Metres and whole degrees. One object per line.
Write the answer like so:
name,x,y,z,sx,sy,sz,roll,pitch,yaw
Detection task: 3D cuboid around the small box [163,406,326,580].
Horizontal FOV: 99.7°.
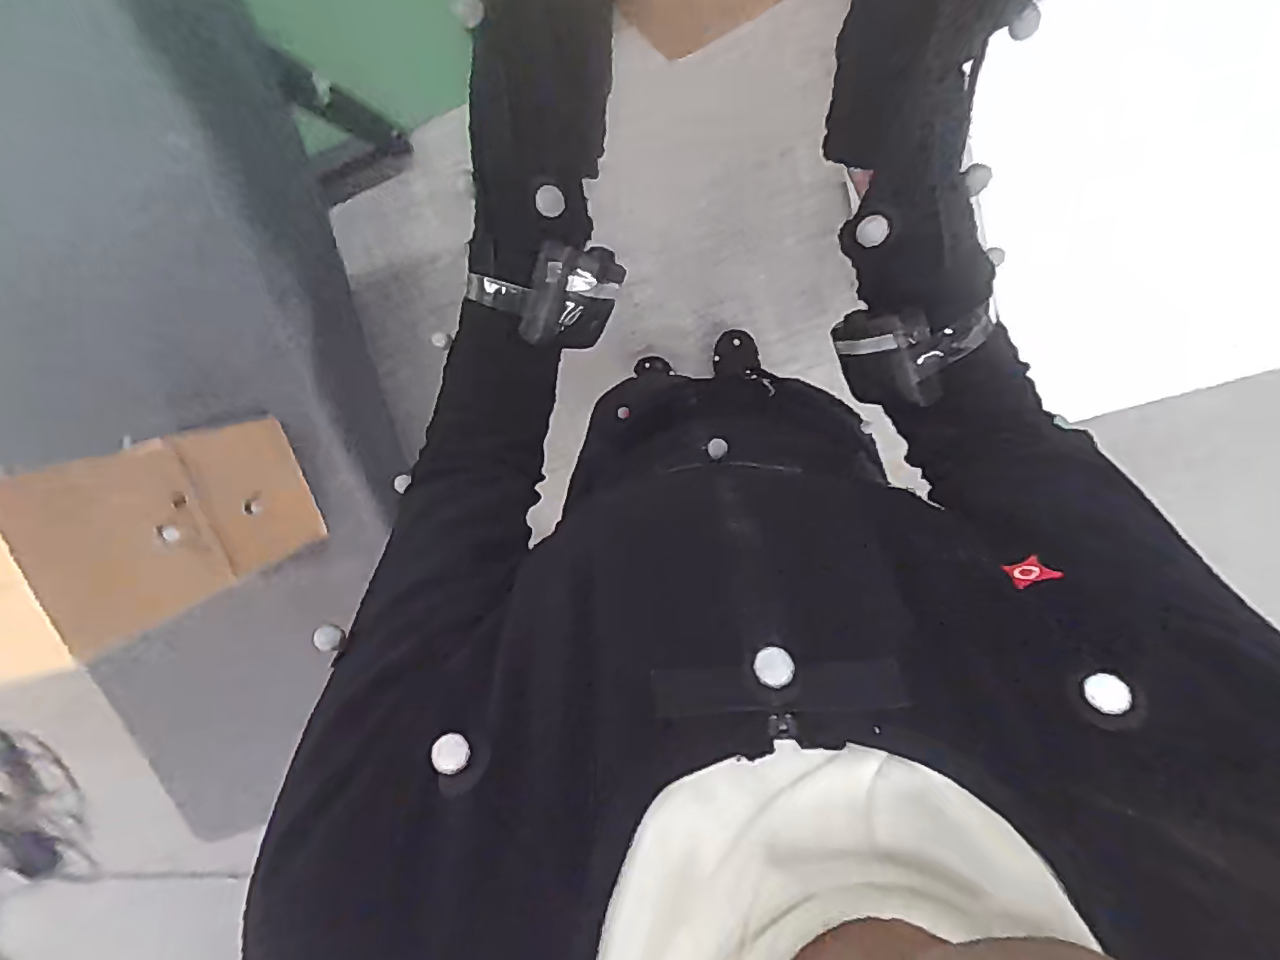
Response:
small box,-0.551,0.018,0.696,0.168,0.176,0.179,-13,105,12
